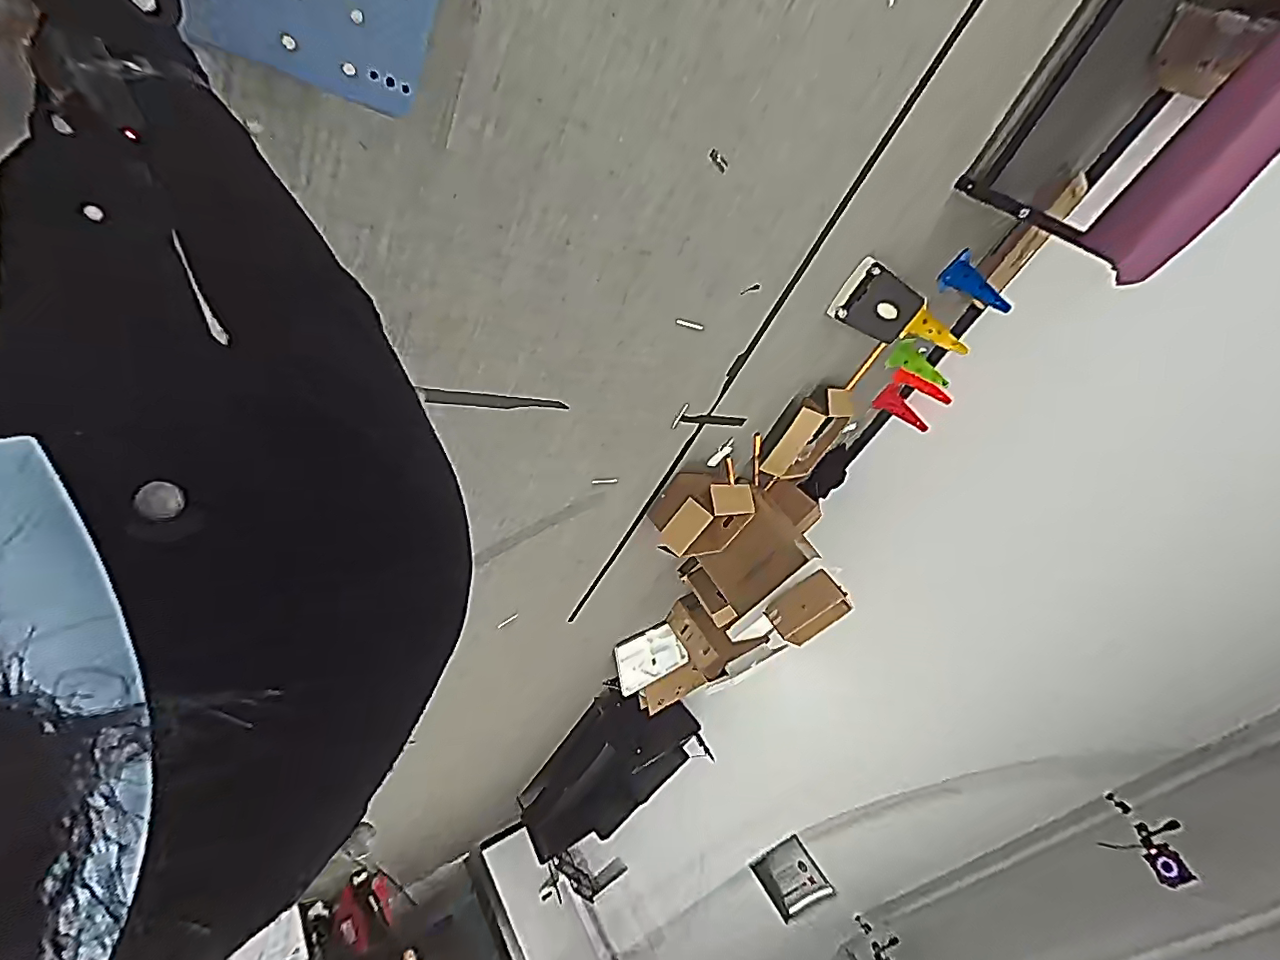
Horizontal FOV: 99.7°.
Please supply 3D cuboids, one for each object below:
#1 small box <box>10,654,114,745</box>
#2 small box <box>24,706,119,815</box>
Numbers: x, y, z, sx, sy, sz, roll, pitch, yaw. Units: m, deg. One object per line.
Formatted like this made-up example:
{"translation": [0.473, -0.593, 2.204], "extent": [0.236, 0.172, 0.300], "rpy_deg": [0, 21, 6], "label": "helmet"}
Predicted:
{"translation": [-1.588, 0.616, 1.495], "extent": [0.168, 0.176, 0.179], "rpy_deg": [-15, 143, -38], "label": "small box"}
{"translation": [-1.496, 0.731, 1.425], "extent": [0.168, 0.176, 0.179], "rpy_deg": [-3, 135, -47], "label": "small box"}
